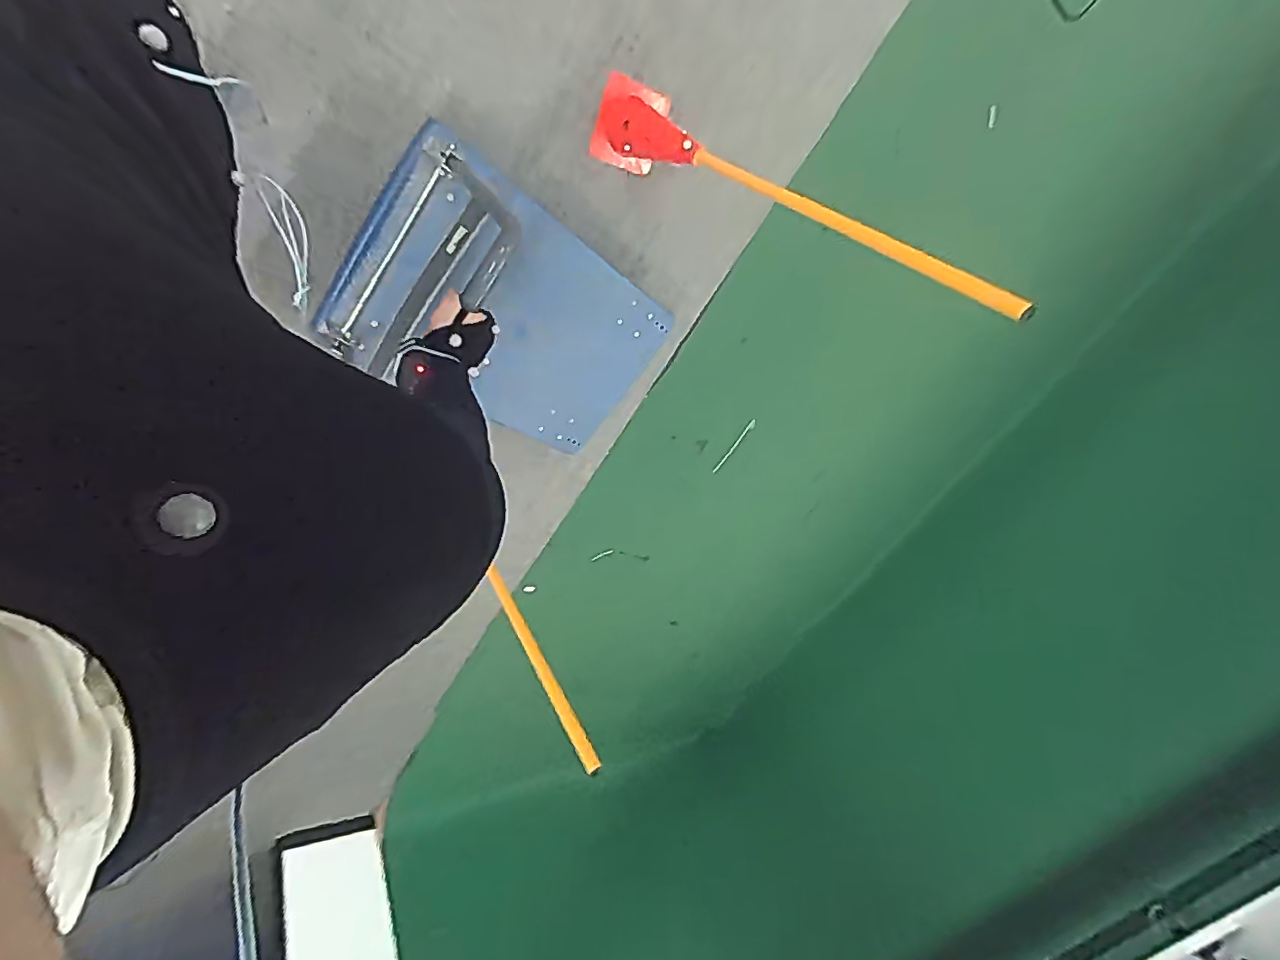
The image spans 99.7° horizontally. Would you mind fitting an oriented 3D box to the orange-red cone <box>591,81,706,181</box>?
[{"bbox_3d":[0.054,-0.849,1.371,0.198,0.360,0.199,-1,126,-37],"label":"orange-red cone"}]
